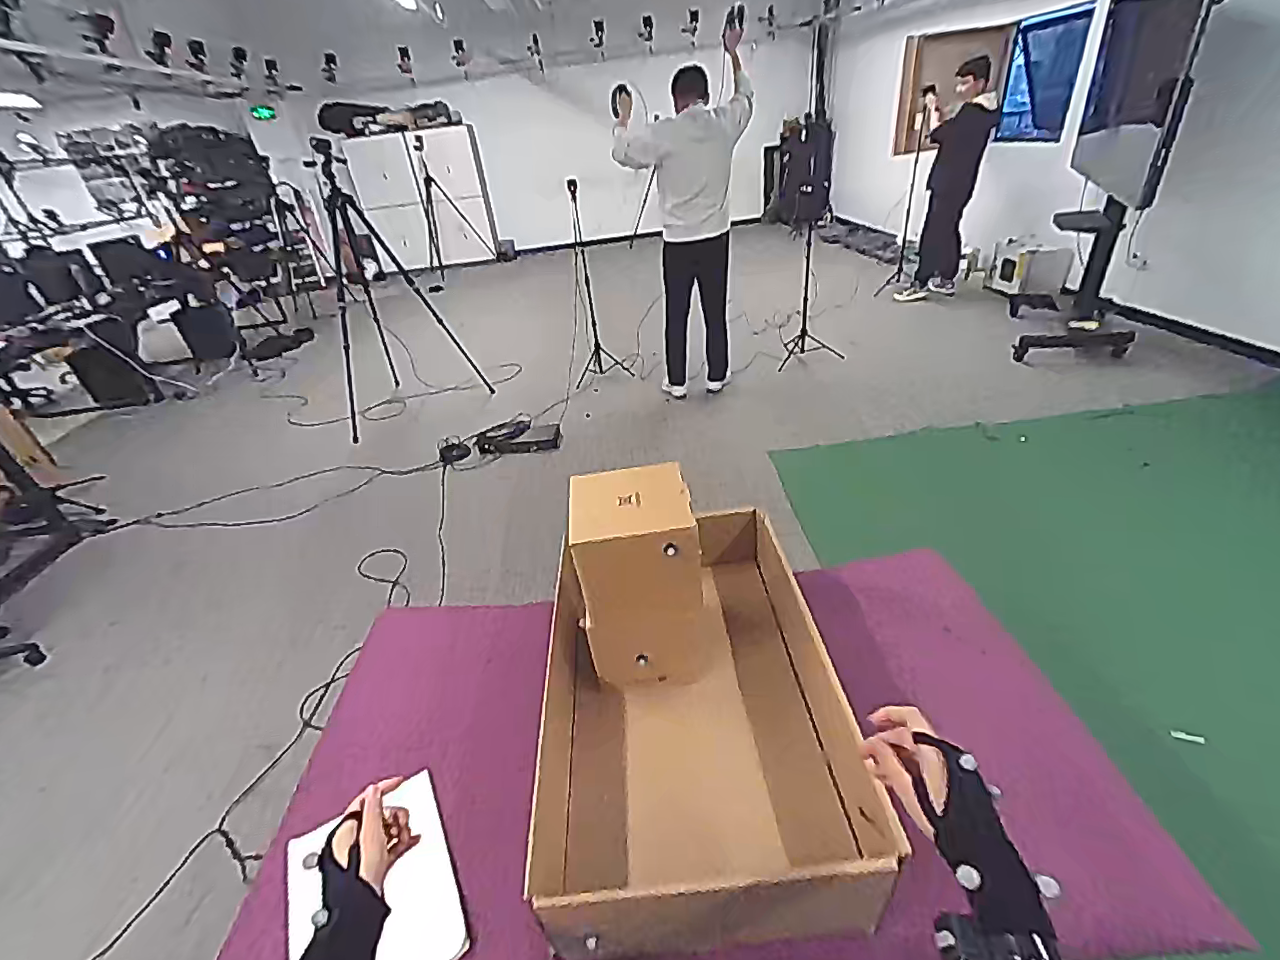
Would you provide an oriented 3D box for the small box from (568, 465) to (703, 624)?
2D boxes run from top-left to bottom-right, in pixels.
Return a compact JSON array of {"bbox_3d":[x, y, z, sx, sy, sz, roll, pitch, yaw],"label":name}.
[{"bbox_3d":[-0.007,0.100,0.825,0.179,0.176,0.168,-8,34,-1],"label":"small box"}]

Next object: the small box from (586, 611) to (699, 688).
[{"bbox_3d":[0.005,0.233,0.917,0.168,0.176,0.179,-7,34,1],"label":"small box"}]
